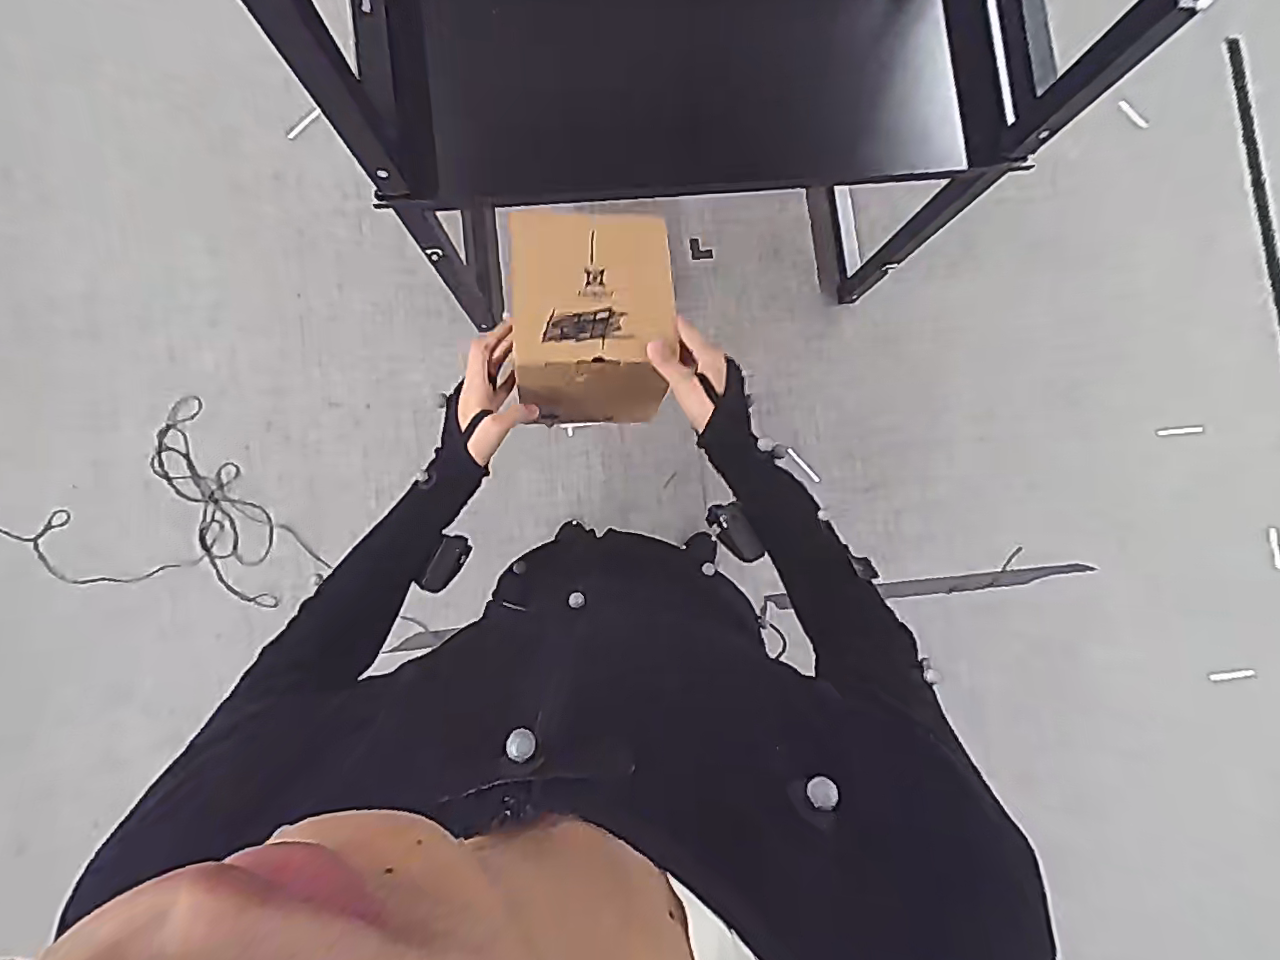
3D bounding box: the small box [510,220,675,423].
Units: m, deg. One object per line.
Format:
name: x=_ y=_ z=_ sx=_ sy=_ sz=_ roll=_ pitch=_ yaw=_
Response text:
small box: x=-0.058 y=-0.171 z=0.630 sx=0.168 sy=0.176 sz=0.179 roll=-2 pitch=75 yaw=-8
